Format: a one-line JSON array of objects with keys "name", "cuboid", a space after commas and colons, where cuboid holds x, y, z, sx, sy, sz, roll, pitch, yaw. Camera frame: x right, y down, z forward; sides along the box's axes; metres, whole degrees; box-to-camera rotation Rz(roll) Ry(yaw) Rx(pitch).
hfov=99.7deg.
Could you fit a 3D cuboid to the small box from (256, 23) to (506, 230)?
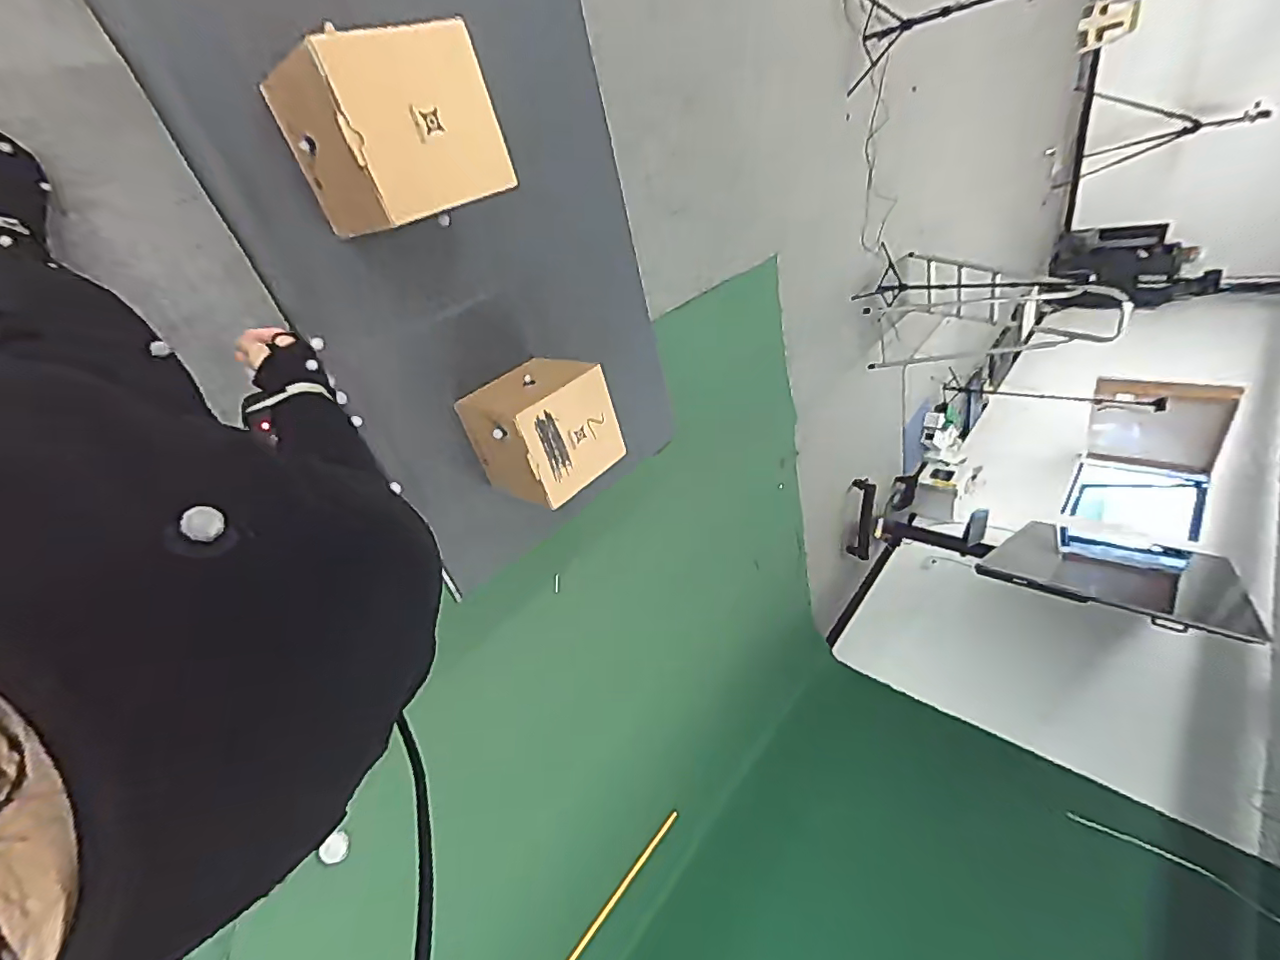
[{"name": "small box", "cuboid": [-0.295, -0.402, 0.629, 0.179, 0.176, 0.168, -40, 131, -33]}]
